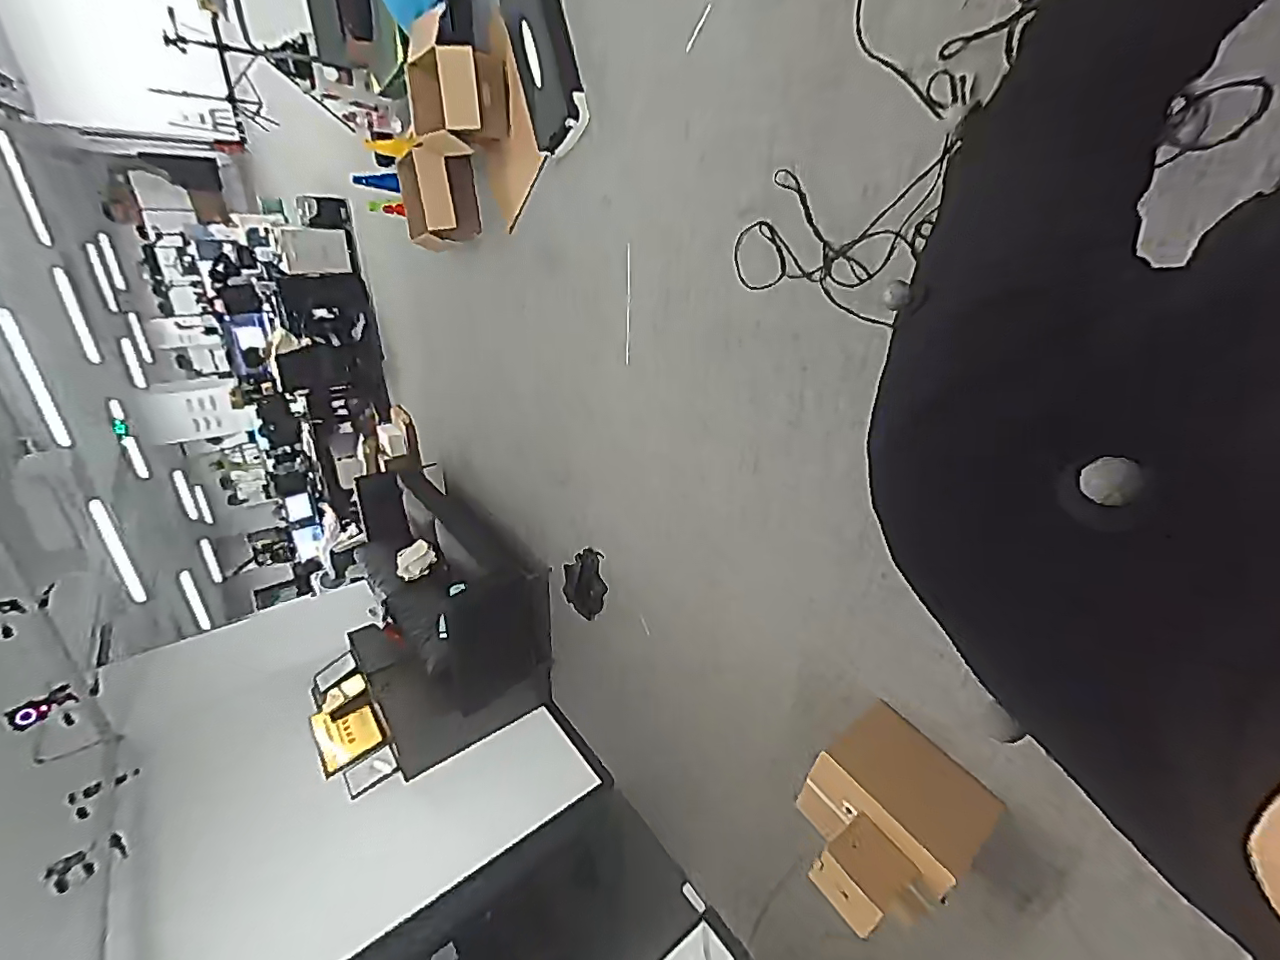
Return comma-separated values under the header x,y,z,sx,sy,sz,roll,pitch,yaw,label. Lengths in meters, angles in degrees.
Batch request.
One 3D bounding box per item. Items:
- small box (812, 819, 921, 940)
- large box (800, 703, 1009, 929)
x,y,z,sx,sy,sz,roll,pitch,yaw,label
0.592,1.033,1.419,0.179,0.176,0.168,38,135,38,small box
0.757,0.957,1.585,0.408,0.320,0.320,39,133,40,large box
